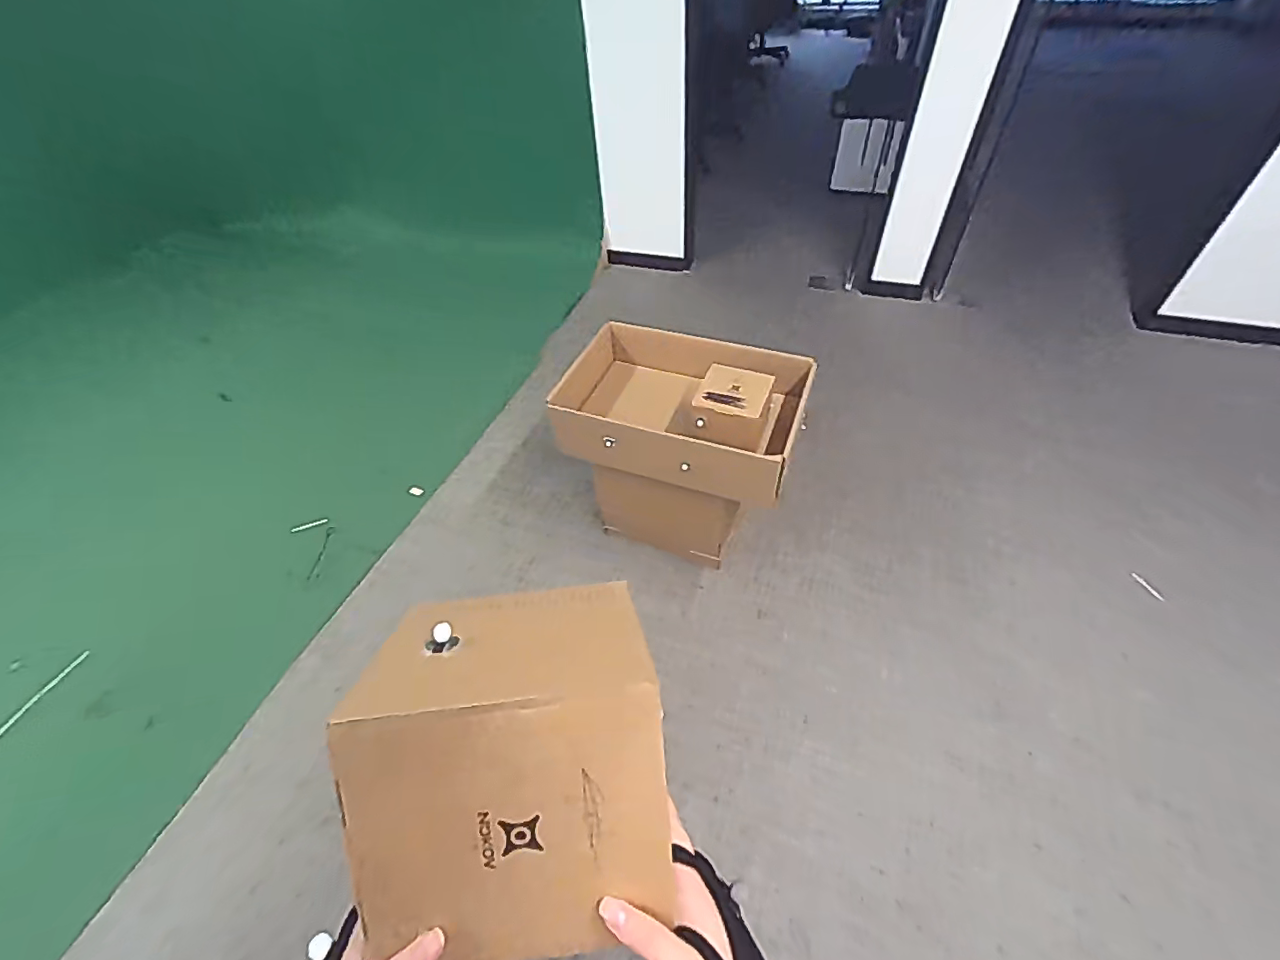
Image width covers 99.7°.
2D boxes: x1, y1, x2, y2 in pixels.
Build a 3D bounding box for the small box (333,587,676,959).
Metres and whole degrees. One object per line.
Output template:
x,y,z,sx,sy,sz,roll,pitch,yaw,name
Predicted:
-0.078,0.184,0.376,0.179,0.168,0.176,-5,9,-7,small box
